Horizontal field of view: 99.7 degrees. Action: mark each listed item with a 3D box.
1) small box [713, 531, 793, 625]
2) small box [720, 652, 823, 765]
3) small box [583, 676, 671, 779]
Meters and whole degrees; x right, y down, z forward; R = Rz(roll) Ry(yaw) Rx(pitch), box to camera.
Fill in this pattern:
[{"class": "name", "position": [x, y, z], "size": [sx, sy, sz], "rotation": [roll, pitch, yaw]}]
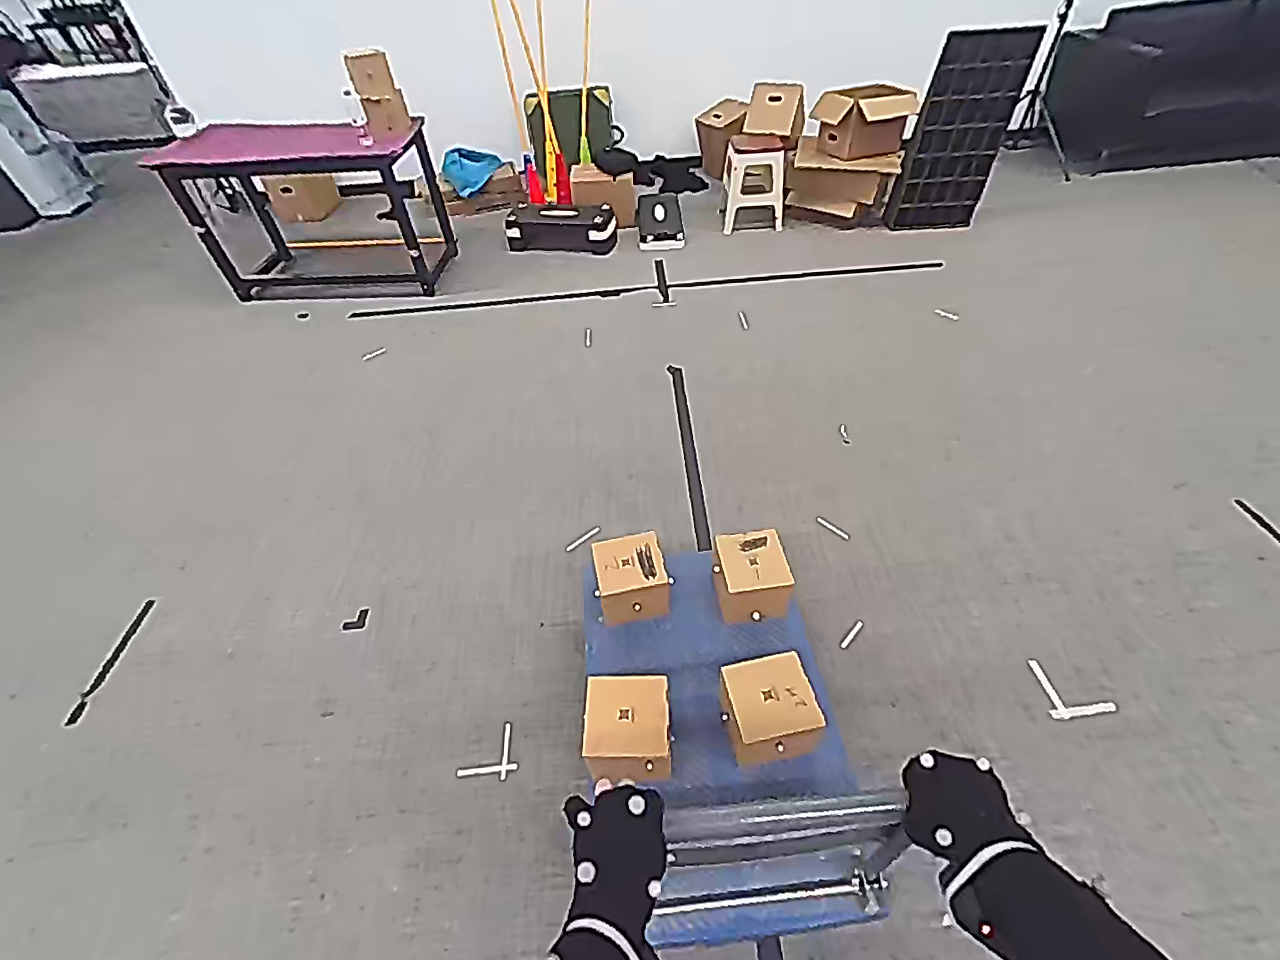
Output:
[{"class": "small box", "position": [0.291, 0.260, 1.438], "size": [0.168, 0.176, 0.179], "rotation": [-7, 47, -2]}, {"class": "small box", "position": [0.282, 0.510, 1.199], "size": [0.179, 0.176, 0.168], "rotation": [-11, 46, -4]}, {"class": "small box", "position": [-0.023, 0.548, 1.194], "size": [0.179, 0.176, 0.168], "rotation": [-2, 46, 2]}]
